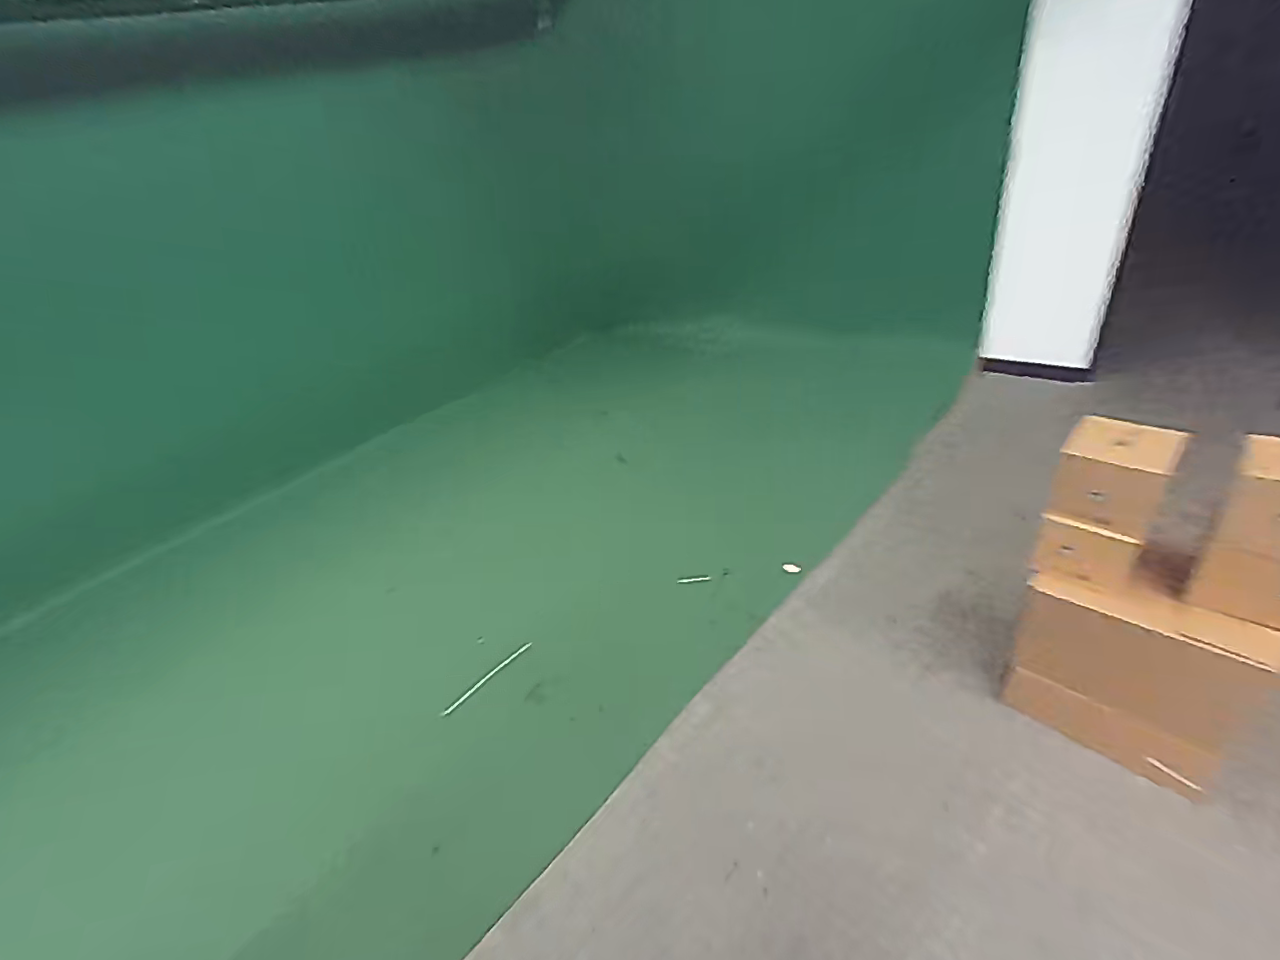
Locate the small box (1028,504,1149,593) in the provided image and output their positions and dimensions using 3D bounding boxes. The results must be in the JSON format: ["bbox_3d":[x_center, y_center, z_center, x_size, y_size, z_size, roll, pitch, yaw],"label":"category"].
[{"bbox_3d":[1.031,0.128,1.254,0.179,0.176,0.168,-36,41,-29],"label":"small box"}]

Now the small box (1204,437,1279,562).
[{"bbox_3d":[1.223,0.045,1.017,0.168,0.176,0.179,-36,38,-31],"label":"small box"}]

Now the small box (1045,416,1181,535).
[{"bbox_3d":[1.010,-0.011,1.167,0.179,0.176,0.168,-34,41,-28],"label":"small box"}]

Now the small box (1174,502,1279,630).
[{"bbox_3d":[1.254,0.177,1.109,0.179,0.176,0.168,20,46,42],"label":"small box"}]
